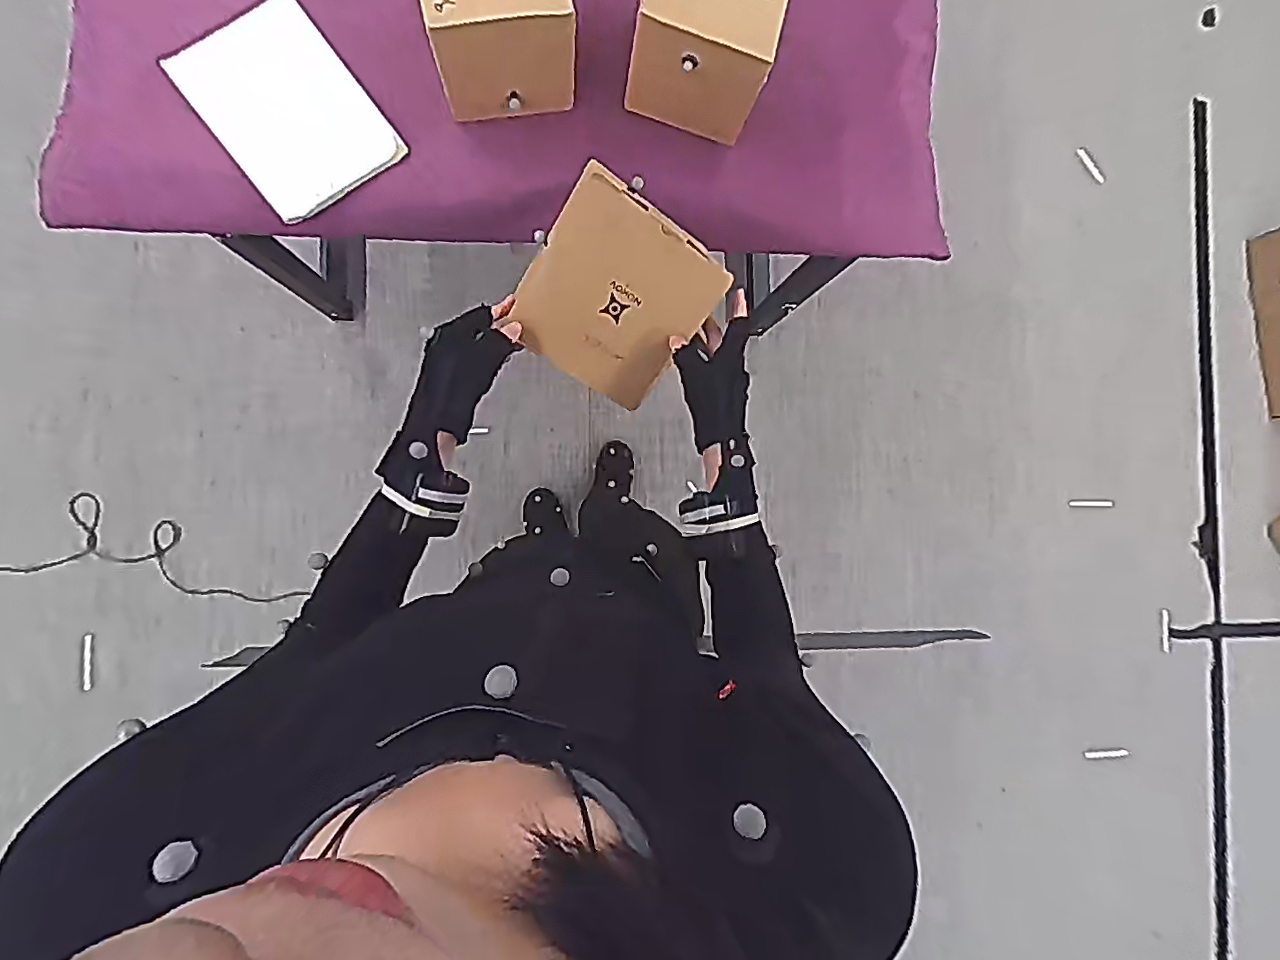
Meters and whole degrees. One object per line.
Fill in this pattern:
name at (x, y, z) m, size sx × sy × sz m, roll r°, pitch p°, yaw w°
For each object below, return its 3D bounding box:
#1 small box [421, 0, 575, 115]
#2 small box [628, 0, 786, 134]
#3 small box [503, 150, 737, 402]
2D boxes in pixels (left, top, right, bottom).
small box at (-0.189, -0.615, 0.702) m, size 0.179 × 0.176 × 0.168 m, roll -13°, pitch 90°, yaw -8°
small box at (0.089, -0.617, 0.736) m, size 0.179 × 0.176 × 0.168 m, roll 15°, pitch 86°, yaw -7°
small box at (-0.027, -0.223, 0.584) m, size 0.168 × 0.176 × 0.179 m, roll 29°, pitch 115°, yaw -20°
